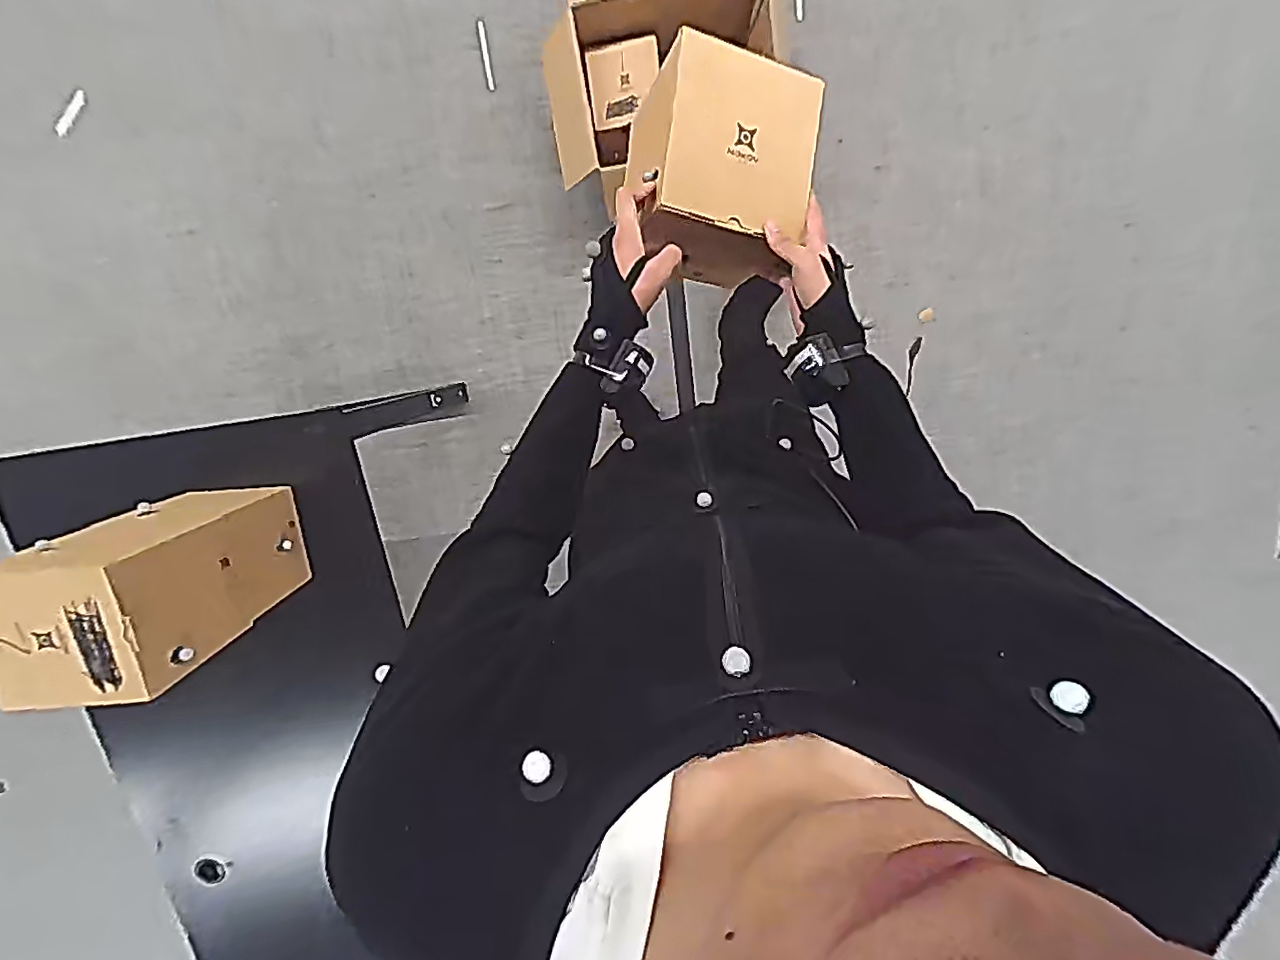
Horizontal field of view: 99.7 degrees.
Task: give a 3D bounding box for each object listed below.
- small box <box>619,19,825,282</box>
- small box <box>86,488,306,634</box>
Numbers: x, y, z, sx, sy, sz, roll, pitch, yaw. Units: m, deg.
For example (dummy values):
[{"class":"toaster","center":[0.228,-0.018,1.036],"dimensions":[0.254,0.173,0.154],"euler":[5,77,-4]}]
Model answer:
[{"class":"small box","center":[0.081,-0.349,0.614],"dimensions":[0.168,0.176,0.179],"euler":[6,93,-18]},{"class":"small box","center":[-0.651,0.114,0.817],"dimensions":[0.179,0.176,0.168],"euler":[-3,105,0]}]
